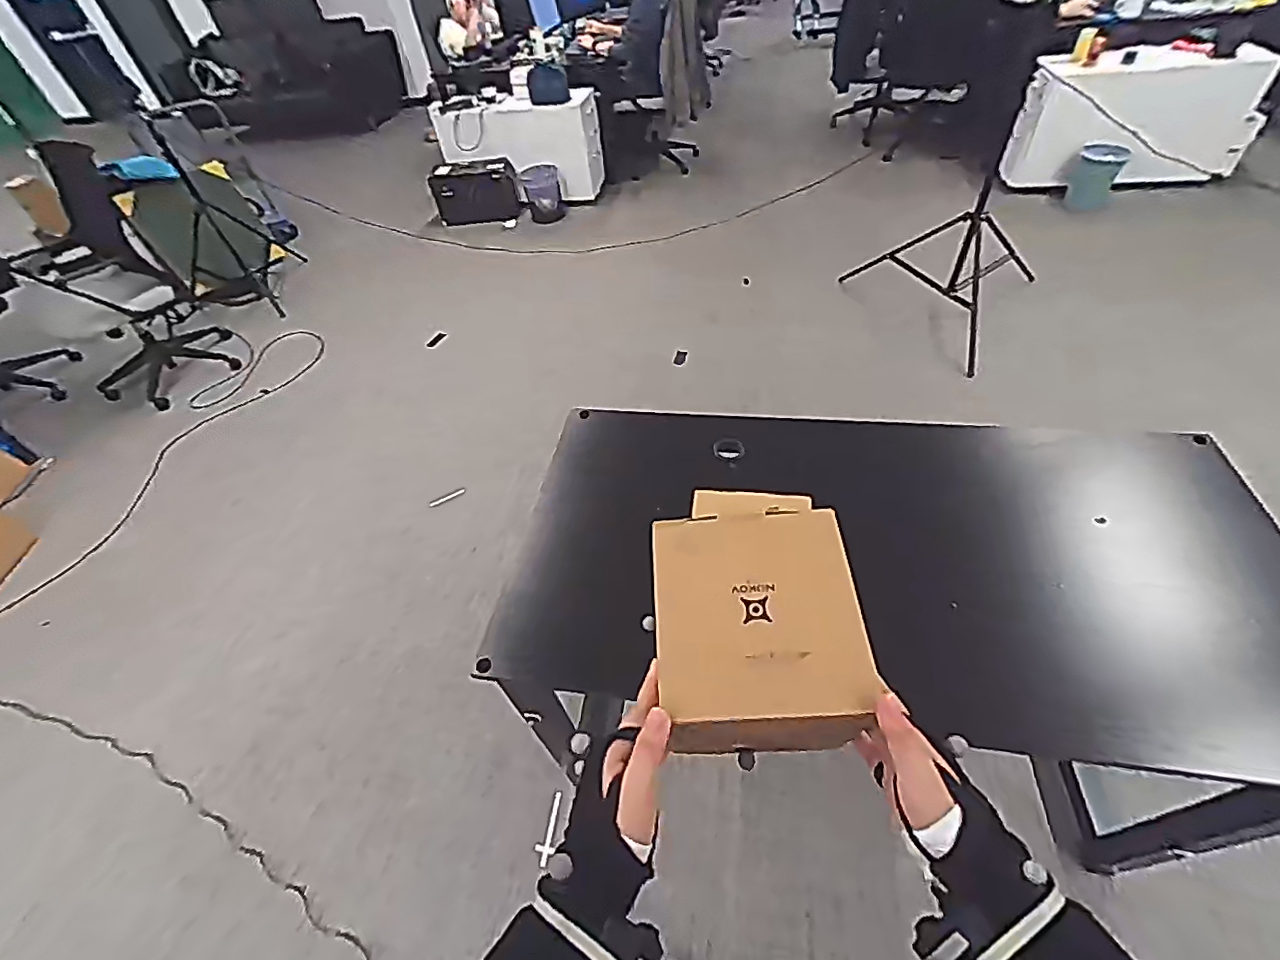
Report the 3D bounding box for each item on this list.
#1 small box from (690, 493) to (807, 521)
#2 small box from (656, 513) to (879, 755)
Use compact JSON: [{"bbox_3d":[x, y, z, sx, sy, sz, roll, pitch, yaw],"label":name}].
[{"bbox_3d":[0.153,0.142,0.791,0.168,0.176,0.179,3,48,10],"label":"small box"},{"bbox_3d":[0.103,0.151,0.517,0.168,0.176,0.179,-4,55,5],"label":"small box"}]
